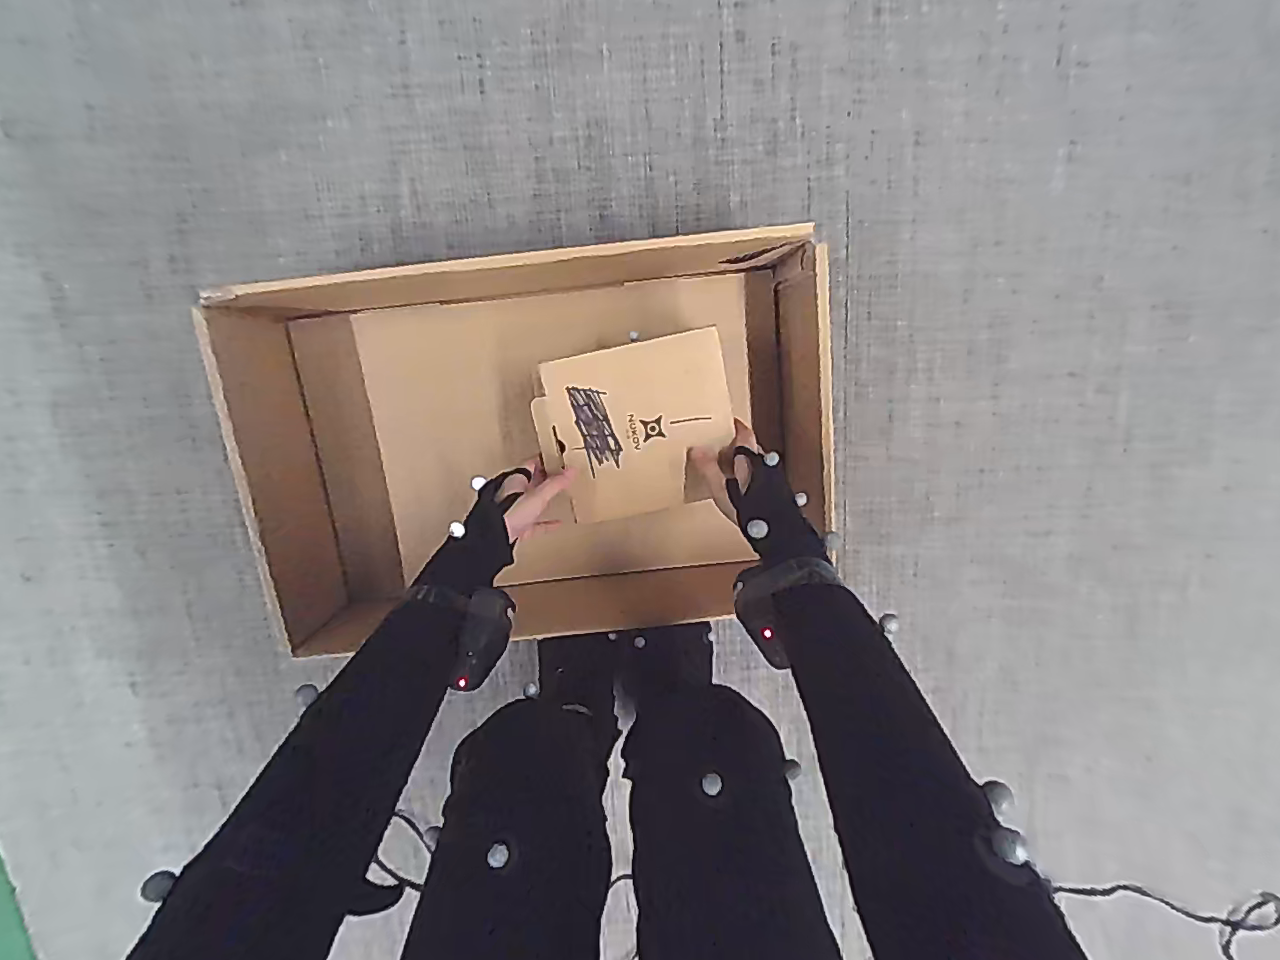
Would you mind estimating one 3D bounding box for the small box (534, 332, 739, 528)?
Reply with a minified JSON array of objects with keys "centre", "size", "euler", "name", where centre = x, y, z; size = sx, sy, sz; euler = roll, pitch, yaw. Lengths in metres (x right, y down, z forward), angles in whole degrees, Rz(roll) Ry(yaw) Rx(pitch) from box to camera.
[{"centre":[0.000,-0.061,0.605],"size":[0.179,0.176,0.168],"euler":[-13,102,3],"name":"small box"}]
